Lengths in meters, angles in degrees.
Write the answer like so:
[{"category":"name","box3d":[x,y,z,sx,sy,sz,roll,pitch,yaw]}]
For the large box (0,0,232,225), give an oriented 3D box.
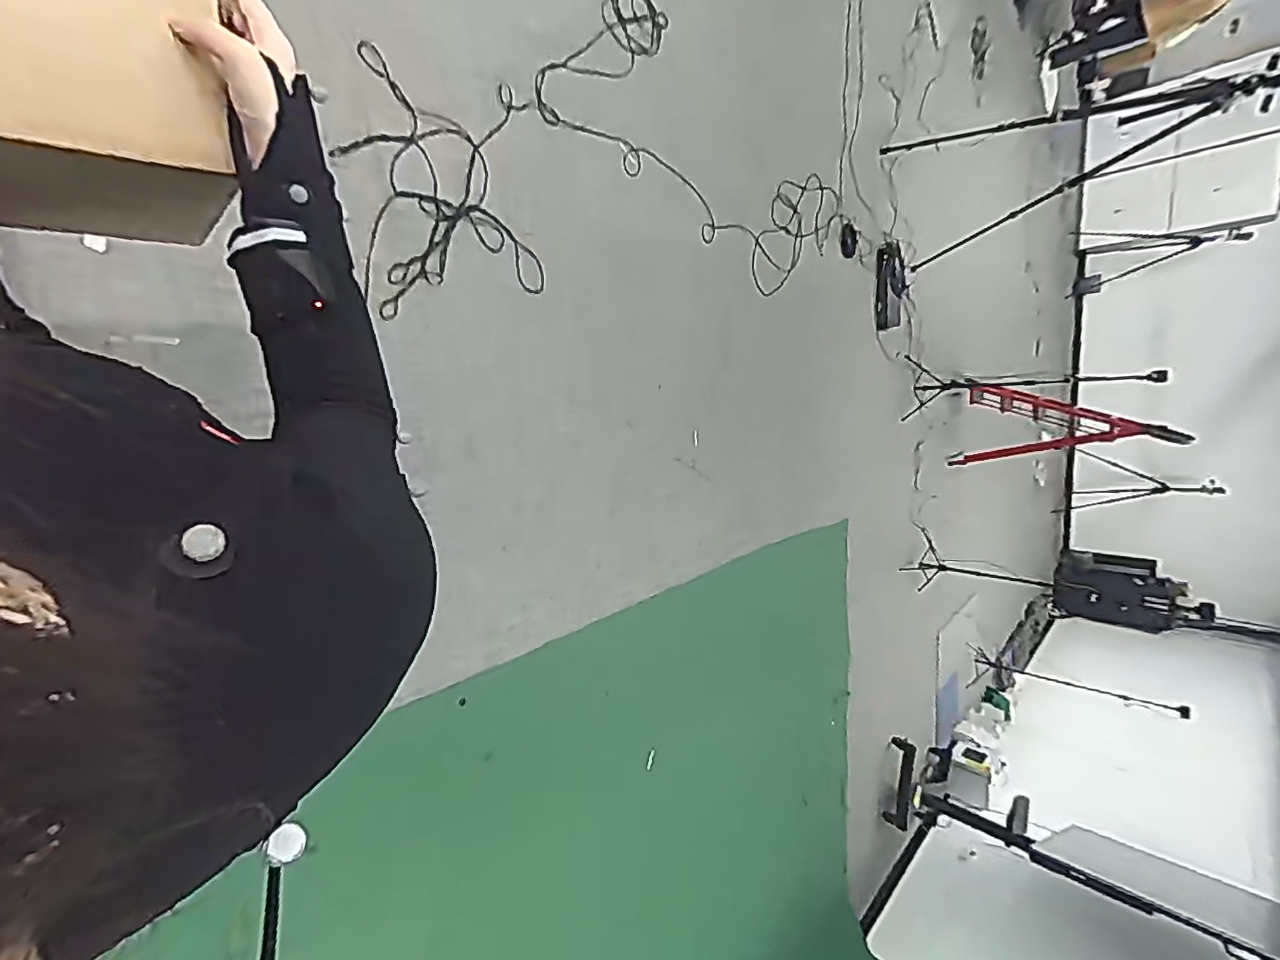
[{"category":"large box","box3d":[-0.571,-0.384,0.370,0.408,0.320,0.320,-14,107,-41]}]
